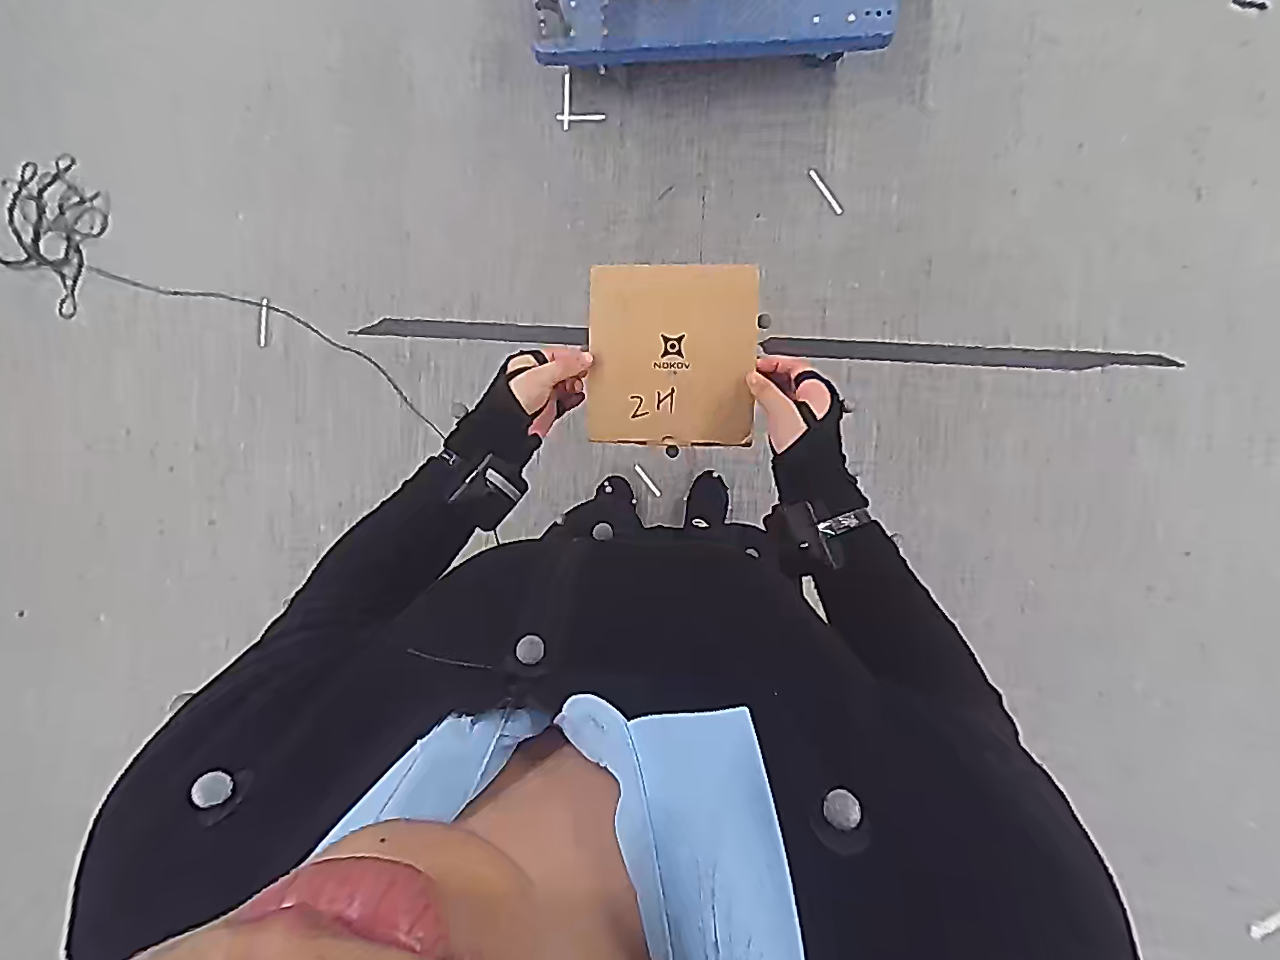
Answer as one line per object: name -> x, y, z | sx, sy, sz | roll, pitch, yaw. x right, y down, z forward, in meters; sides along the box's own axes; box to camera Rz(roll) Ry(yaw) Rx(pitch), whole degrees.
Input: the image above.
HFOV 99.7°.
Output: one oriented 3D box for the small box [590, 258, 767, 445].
small box -> 0.042, -0.130, 0.599 | 0.168, 0.176, 0.179 | 2, 95, 5
